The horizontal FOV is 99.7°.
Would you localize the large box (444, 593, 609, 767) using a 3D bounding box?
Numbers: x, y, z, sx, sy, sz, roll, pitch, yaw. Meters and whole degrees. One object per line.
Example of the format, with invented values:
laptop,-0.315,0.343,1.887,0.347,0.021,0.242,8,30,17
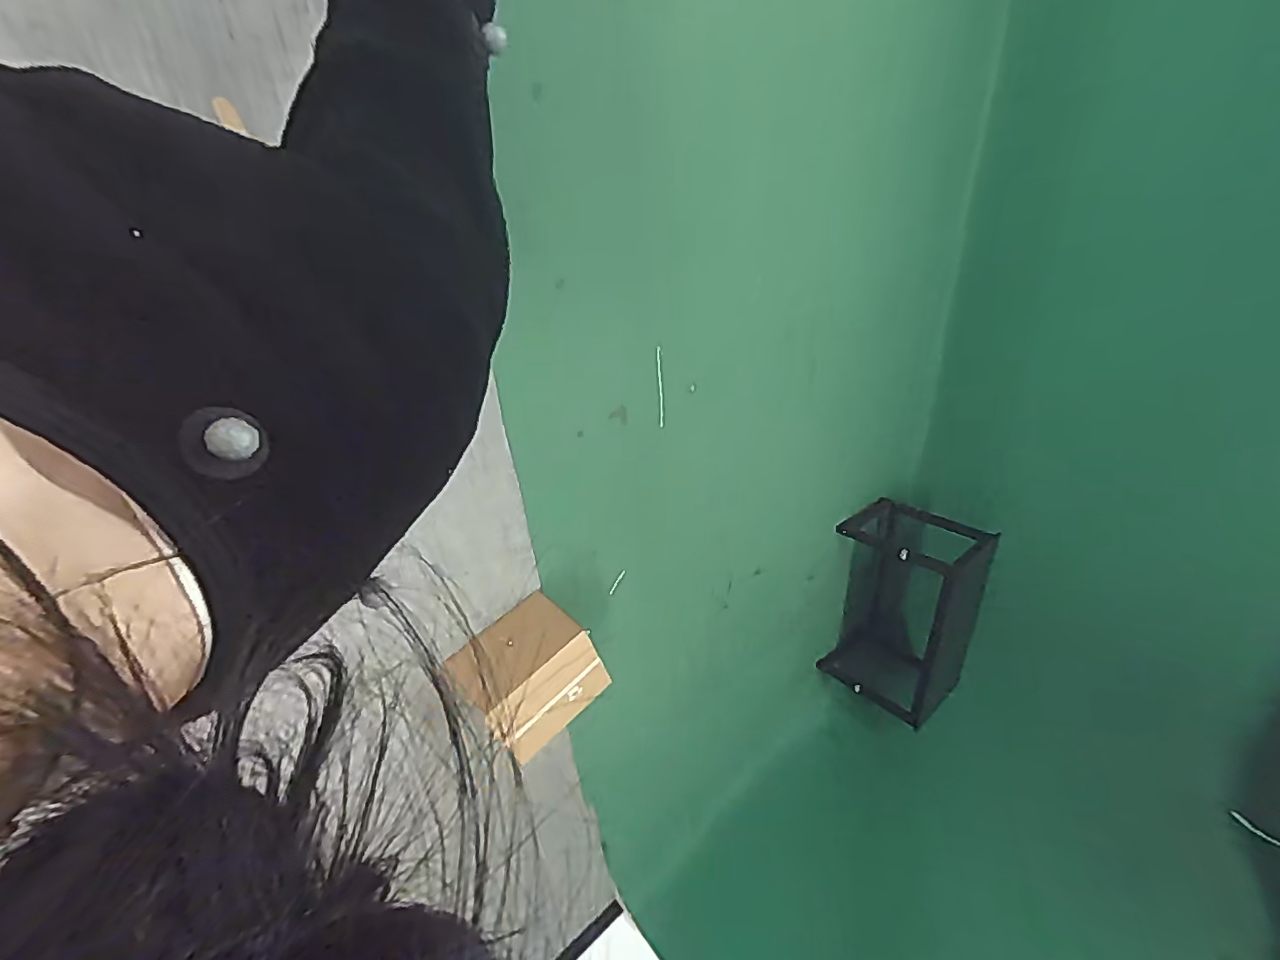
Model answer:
large box,-0.387,0.677,1.879,0.408,0.320,0.320,-39,130,-26
